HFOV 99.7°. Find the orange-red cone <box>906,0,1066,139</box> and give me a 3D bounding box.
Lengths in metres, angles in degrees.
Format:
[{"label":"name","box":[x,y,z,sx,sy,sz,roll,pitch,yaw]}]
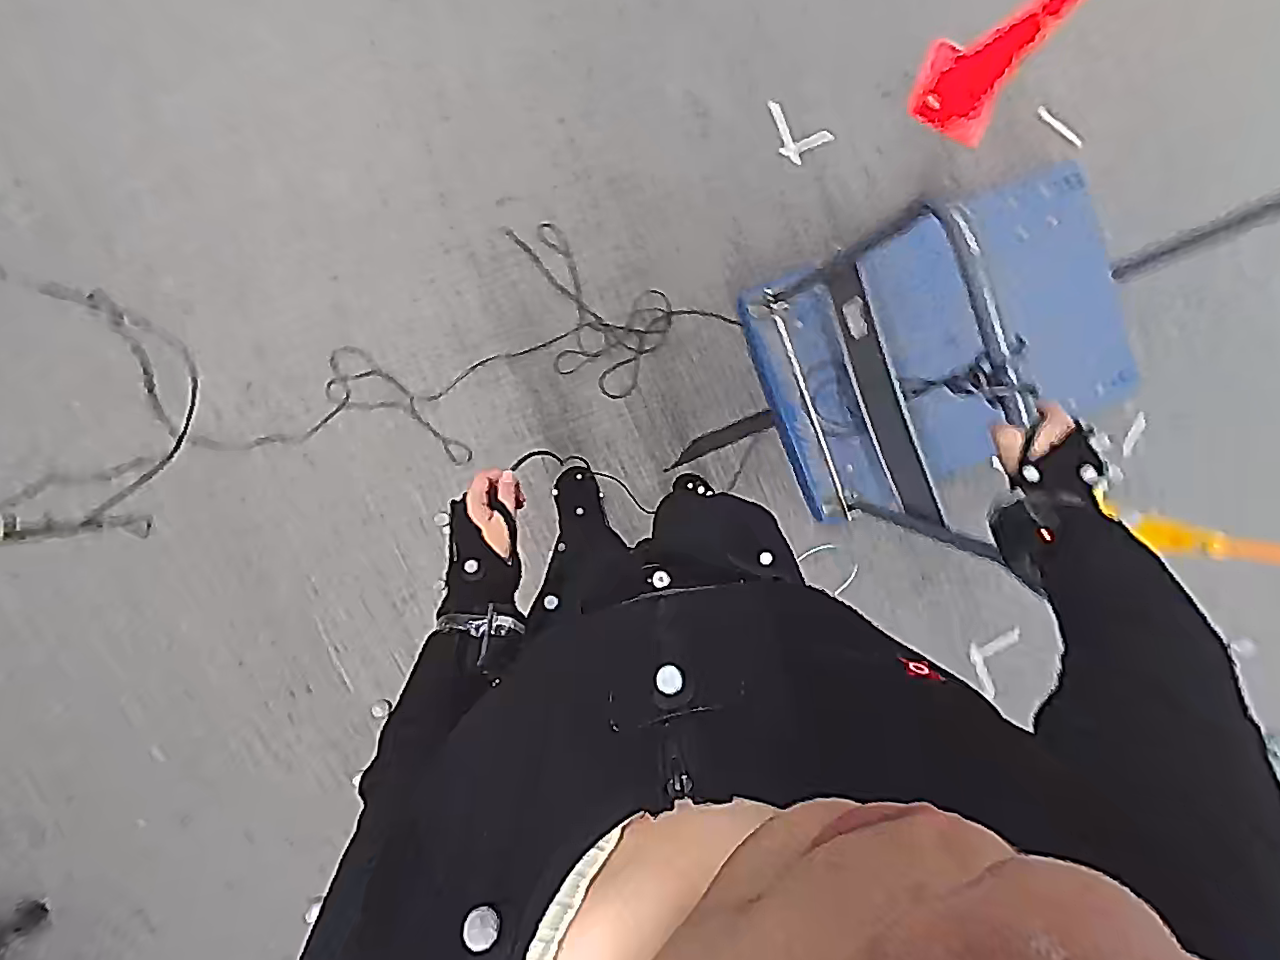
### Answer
[{"label":"orange-red cone","box":[0.811,-0.975,1.203,0.199,0.360,0.198,21,93,-10]}]
